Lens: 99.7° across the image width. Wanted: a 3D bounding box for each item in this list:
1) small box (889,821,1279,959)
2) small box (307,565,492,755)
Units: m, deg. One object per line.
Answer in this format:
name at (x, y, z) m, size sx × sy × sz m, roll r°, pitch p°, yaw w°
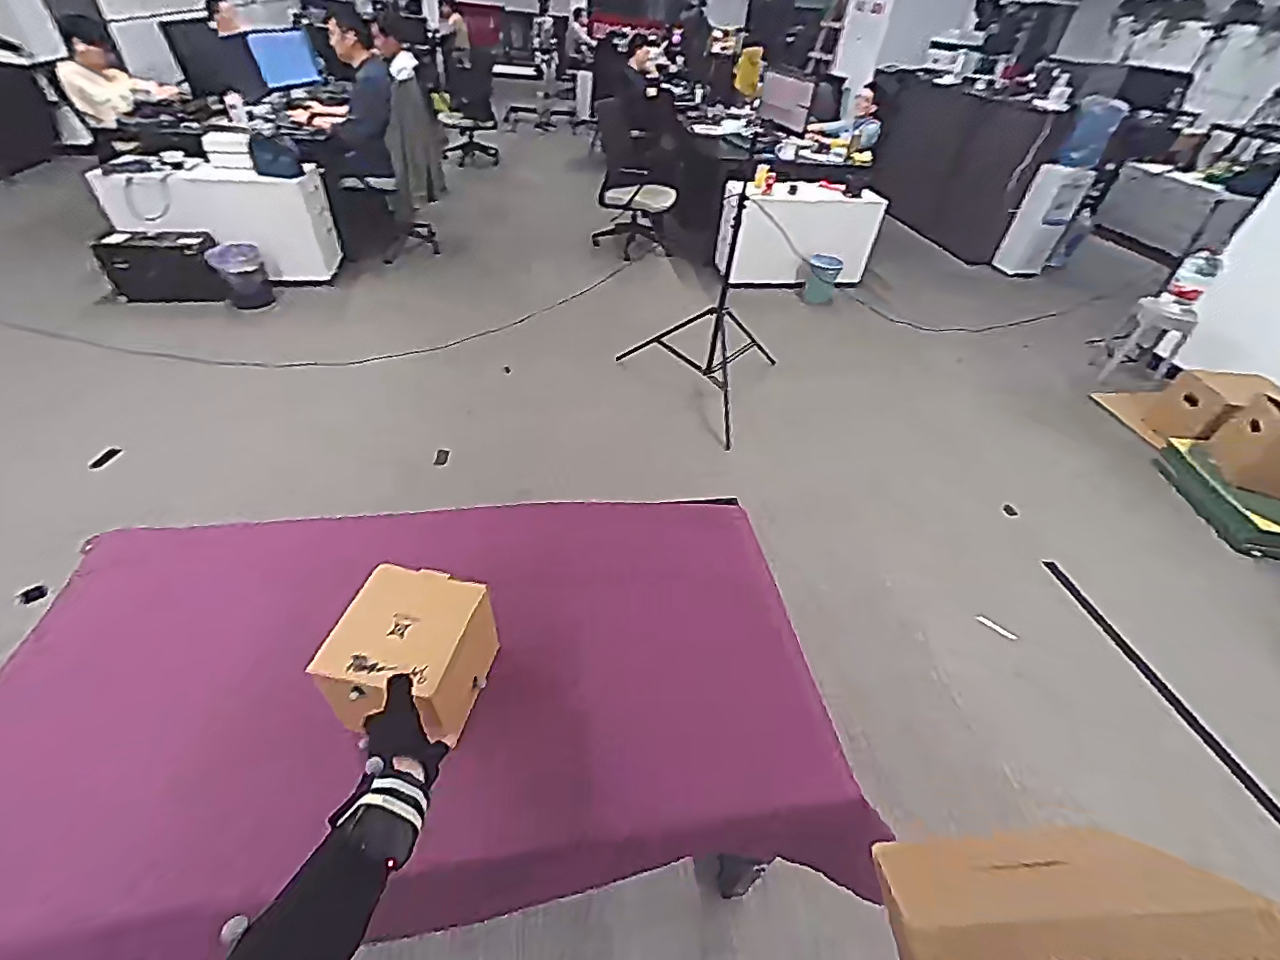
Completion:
small box at (0.251, 0.305, 0.294) m, size 0.168 × 0.179 × 0.176 m, roll -13°, pitch 66°, yaw 13°
small box at (-0.320, 0.253, 0.766) m, size 0.168 × 0.176 × 0.179 m, roll 10°, pitch 41°, yaw 5°
